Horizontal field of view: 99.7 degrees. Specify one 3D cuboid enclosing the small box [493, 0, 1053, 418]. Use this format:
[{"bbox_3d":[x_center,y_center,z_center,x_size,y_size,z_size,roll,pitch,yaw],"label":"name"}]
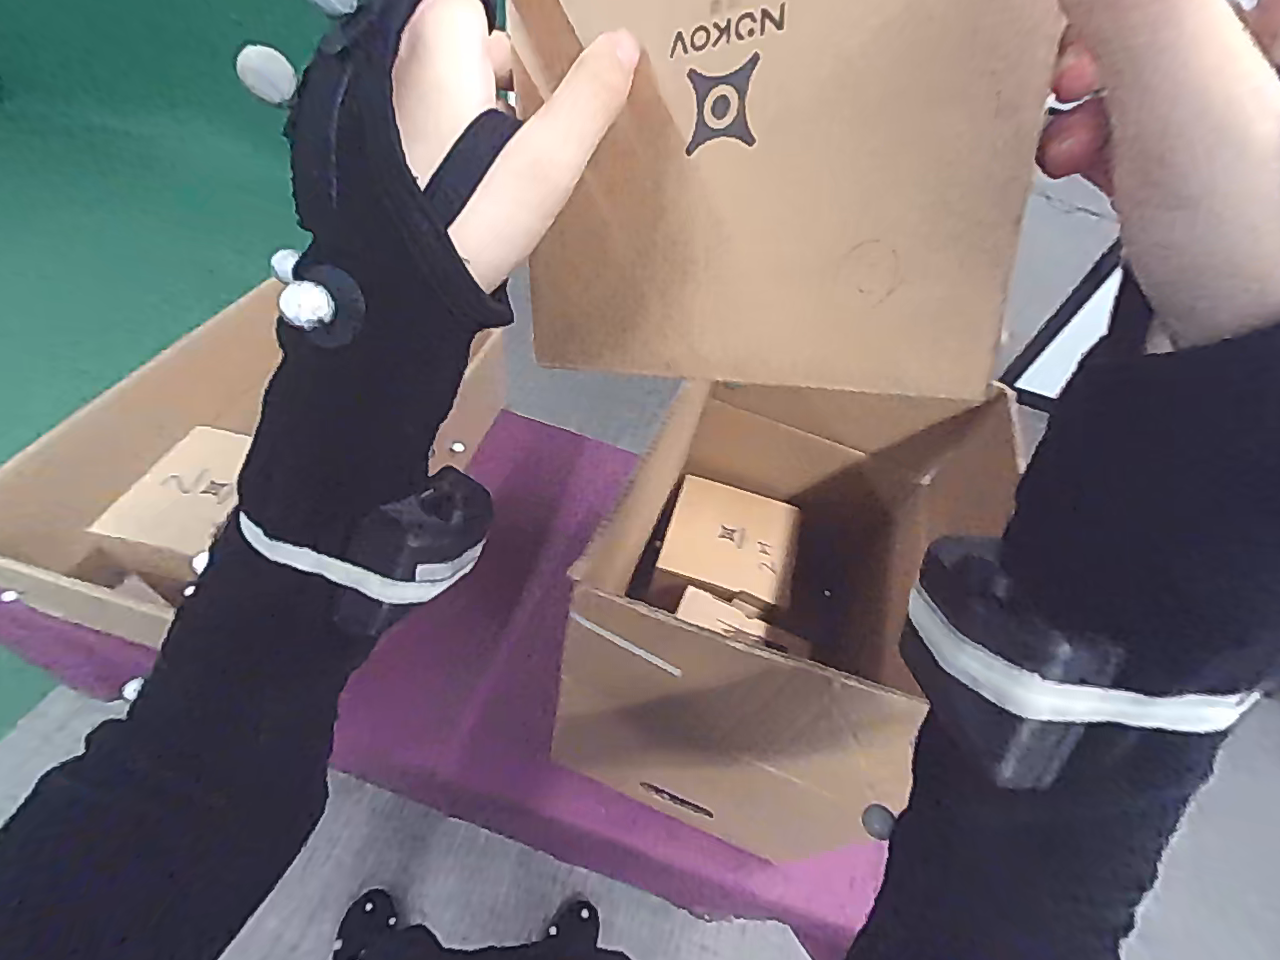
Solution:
[{"bbox_3d":[0.062,-0.135,0.228,0.168,0.179,0.176,11,22,31],"label":"small box"}]
